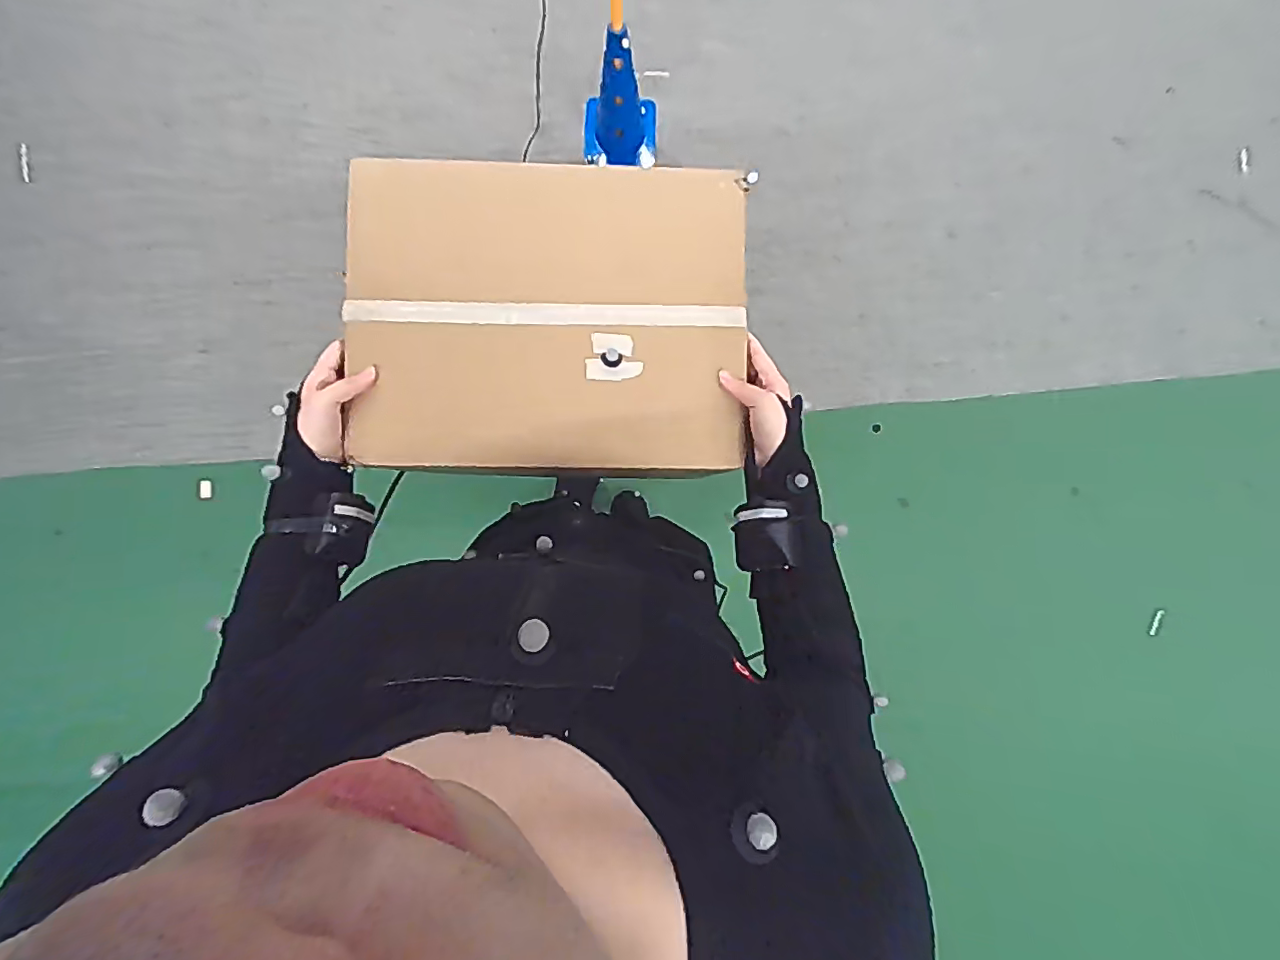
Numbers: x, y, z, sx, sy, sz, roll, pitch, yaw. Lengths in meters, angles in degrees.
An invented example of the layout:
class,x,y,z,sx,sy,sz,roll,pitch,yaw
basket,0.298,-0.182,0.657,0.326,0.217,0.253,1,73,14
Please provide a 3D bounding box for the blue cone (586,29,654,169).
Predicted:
class,x,y,z,sx,sy,sz,roll,pitch,yaw
blue cone,-0.053,-0.977,1.364,0.193,0.380,0.192,3,90,-1

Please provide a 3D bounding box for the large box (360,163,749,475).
class,x,y,z,sx,sy,sz,roll,pitch,yaw
large box,-0.095,-0.169,0.707,0.408,0.320,0.320,0,89,-3
